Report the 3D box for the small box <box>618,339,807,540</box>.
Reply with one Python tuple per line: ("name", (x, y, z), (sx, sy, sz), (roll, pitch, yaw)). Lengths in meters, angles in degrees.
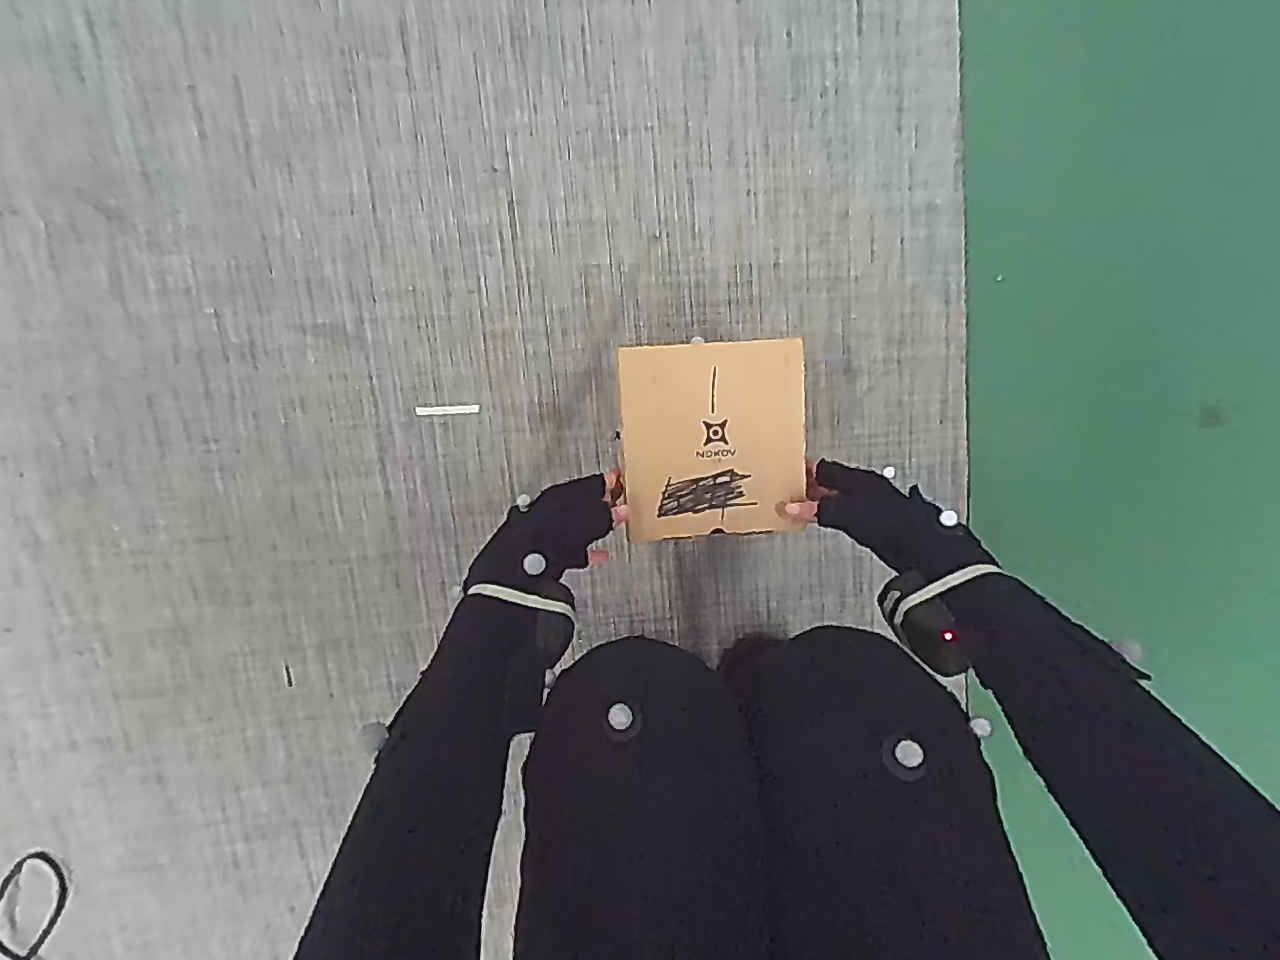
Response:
("small box", (0.063, -0.046, 0.559), (0.168, 0.176, 0.179), (-3, 98, -3))
